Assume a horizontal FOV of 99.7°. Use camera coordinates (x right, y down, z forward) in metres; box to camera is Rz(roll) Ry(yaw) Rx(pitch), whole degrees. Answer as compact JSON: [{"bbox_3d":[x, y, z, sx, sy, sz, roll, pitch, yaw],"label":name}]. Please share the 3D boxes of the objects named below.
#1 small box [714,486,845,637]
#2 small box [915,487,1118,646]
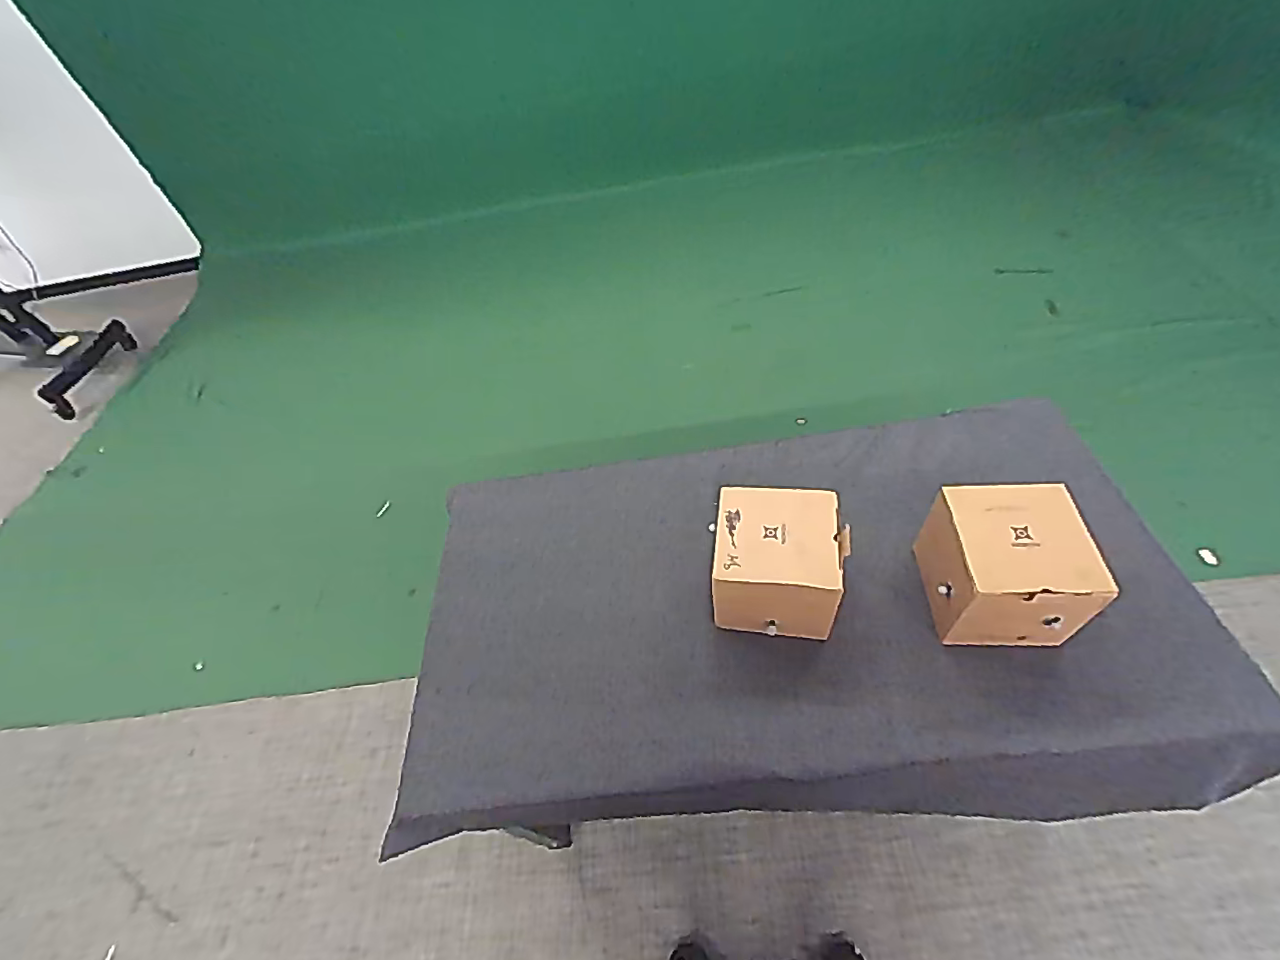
[{"bbox_3d":[0.211,0.130,0.840,0.179,0.176,0.168,4,51,12],"label":"small box"},{"bbox_3d":[0.524,0.128,0.787,0.168,0.176,0.179,0,50,8],"label":"small box"}]
